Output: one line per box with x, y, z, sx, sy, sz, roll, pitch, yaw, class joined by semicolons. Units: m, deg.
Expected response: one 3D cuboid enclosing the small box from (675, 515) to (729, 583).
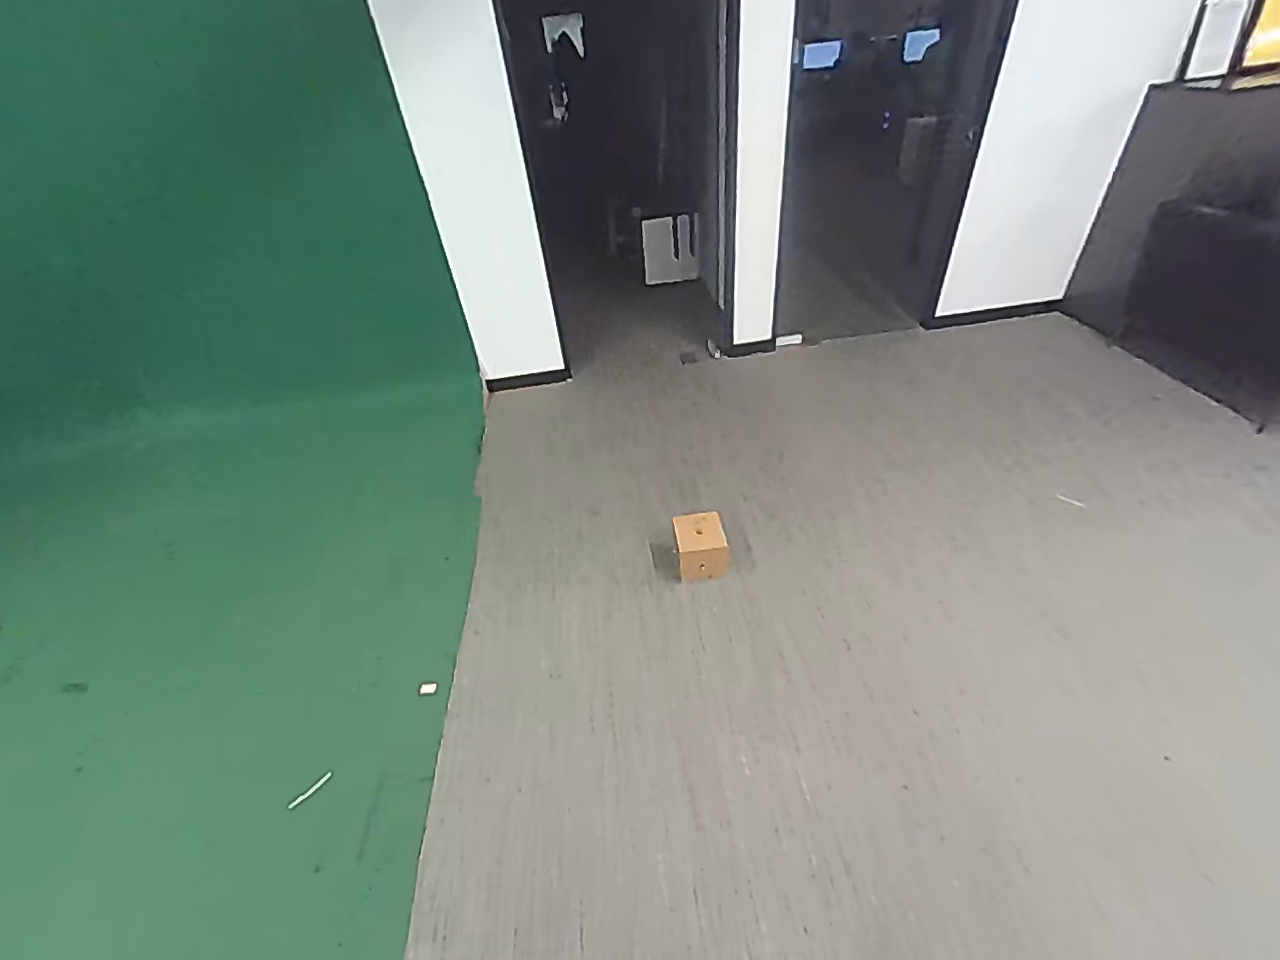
0.222;0.250;1.925;0.168;0.176;0.179;-7;40;-1;small box
